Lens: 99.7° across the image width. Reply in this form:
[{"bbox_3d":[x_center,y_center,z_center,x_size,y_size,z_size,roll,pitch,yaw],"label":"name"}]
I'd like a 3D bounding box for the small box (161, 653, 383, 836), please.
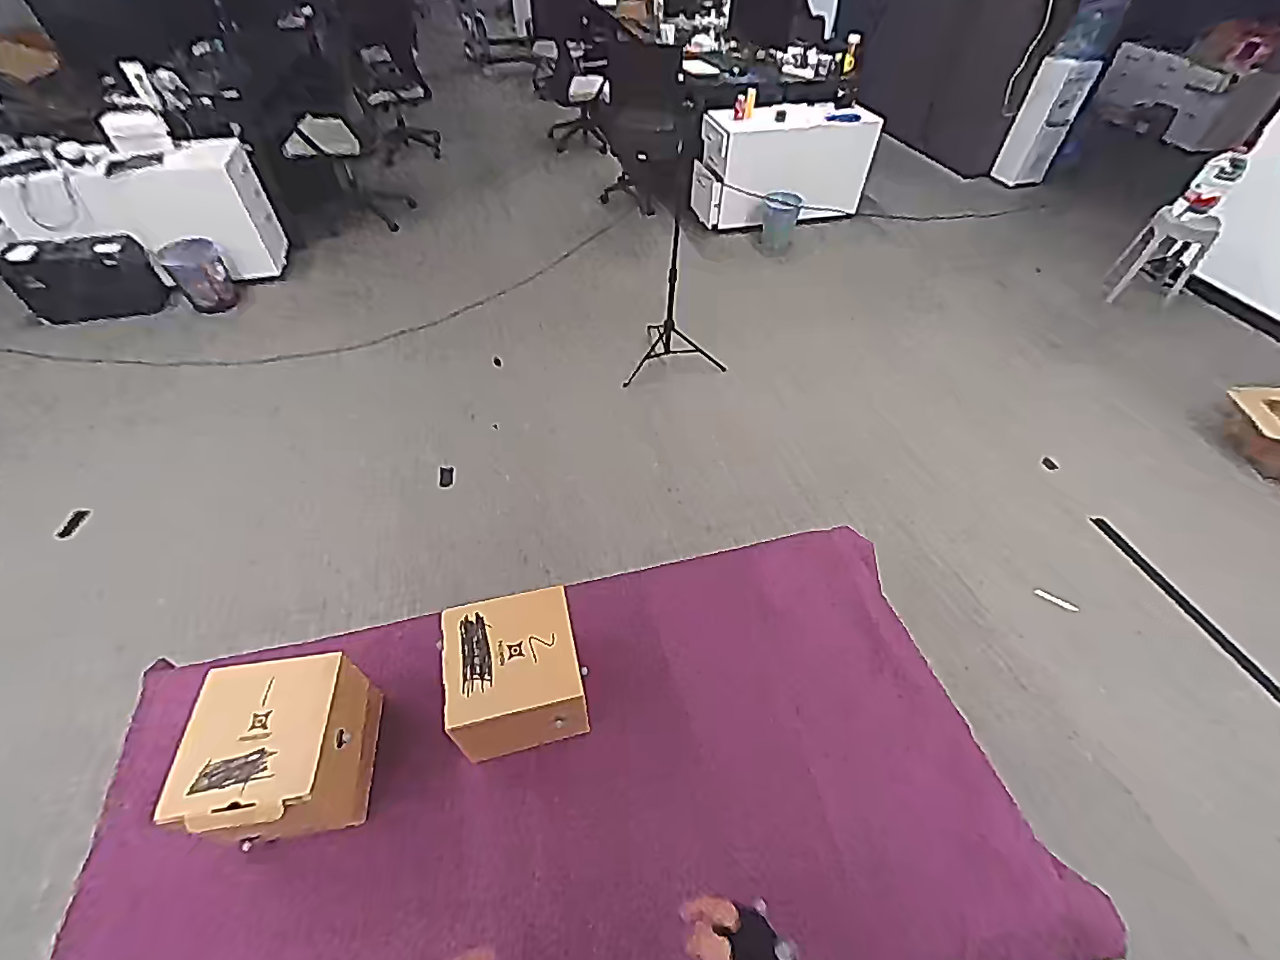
[{"bbox_3d":[-0.459,0.353,0.714,0.168,0.176,0.179,-6,49,-7],"label":"small box"}]
